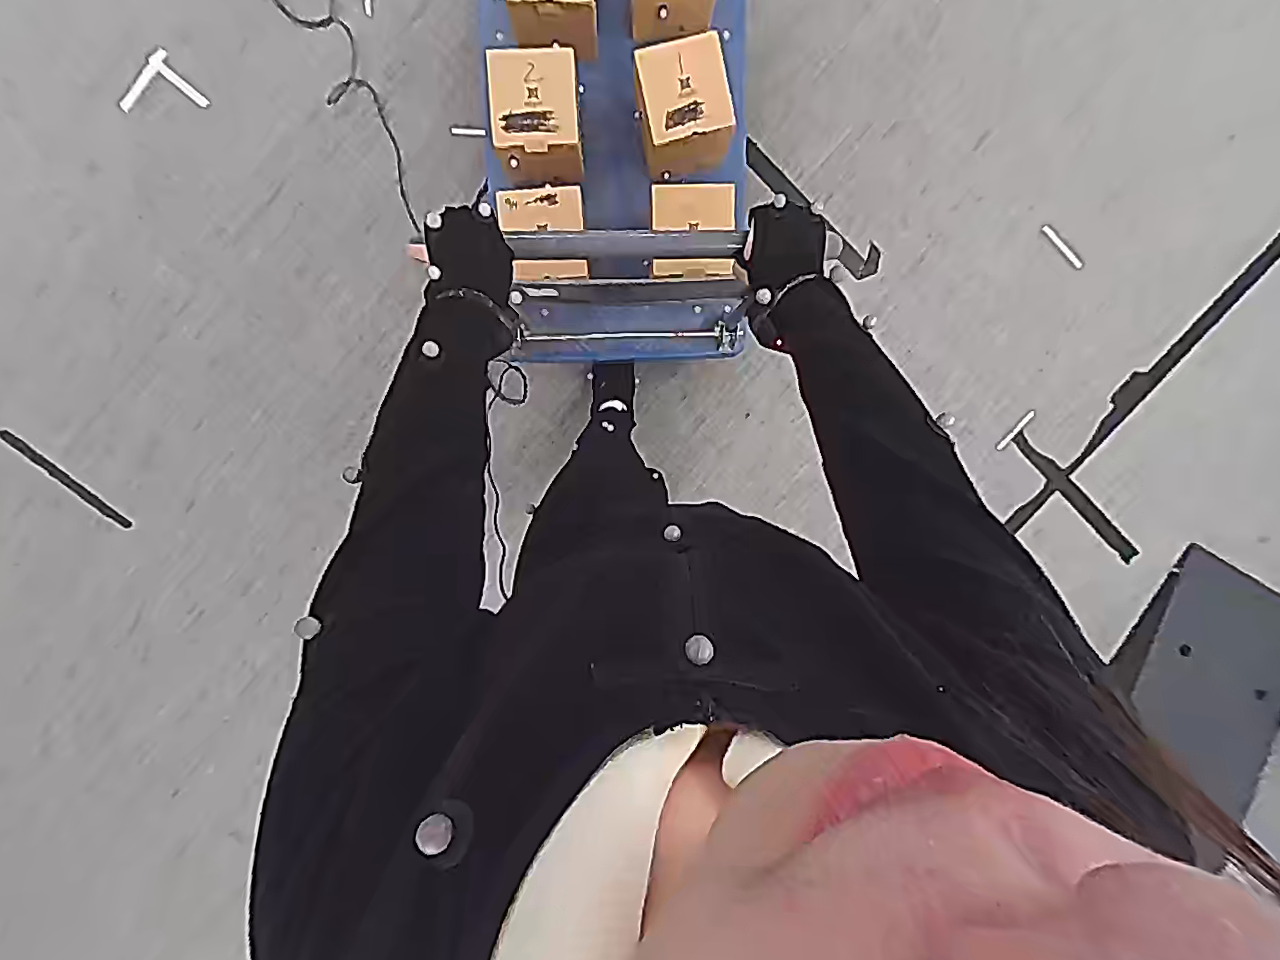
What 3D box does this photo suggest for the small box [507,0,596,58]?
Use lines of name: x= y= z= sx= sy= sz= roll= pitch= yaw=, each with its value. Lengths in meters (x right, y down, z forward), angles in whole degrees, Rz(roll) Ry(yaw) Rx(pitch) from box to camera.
small box: x=-0.175 y=-0.991 z=1.075 sx=0.168 sy=0.176 sz=0.179 roll=0 pitch=98 yaw=-2

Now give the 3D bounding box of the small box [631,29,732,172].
small box: x=0.080 y=-0.766 z=1.116 sx=0.168 sy=0.176 sz=0.179 roll=-14 pitch=97 yaw=0

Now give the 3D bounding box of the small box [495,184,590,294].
small box: x=-0.197 y=-0.496 z=1.139 sx=0.168 sy=0.176 sz=0.179 roll=-5 pitch=98 yaw=-3

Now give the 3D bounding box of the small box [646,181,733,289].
small box: x=0.100 y=-0.511 z=1.152 sx=0.168 sy=0.176 sz=0.179 roll=-1 pitch=97 yaw=-3

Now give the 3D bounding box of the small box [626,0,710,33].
small box: x=0.056 y=-1.035 z=1.080 sx=0.168 sy=0.176 sz=0.179 roll=-5 pitch=98 yaw=-1
